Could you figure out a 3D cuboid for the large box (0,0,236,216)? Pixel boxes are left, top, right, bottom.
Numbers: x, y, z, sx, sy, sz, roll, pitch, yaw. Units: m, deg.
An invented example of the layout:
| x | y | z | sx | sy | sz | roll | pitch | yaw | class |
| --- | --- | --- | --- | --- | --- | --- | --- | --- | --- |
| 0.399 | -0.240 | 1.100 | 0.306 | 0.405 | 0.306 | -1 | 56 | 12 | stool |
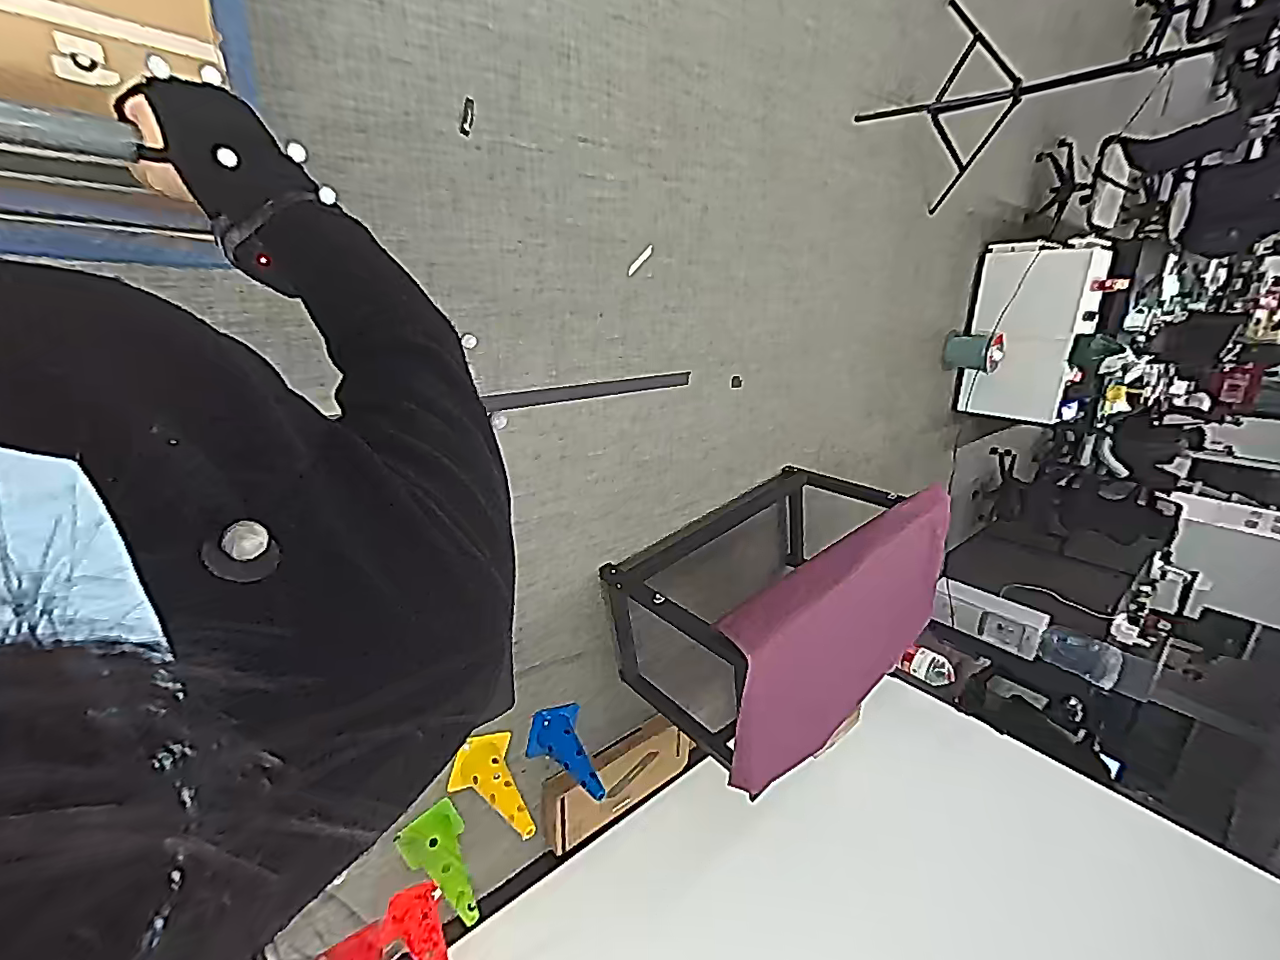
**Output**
| x | y | z | sx | sy | sz | roll | pitch | yaw | class |
| --- | --- | --- | --- | --- | --- | --- | --- | --- | --- |
| -0.816 | -0.557 | 0.706 | 0.408 | 0.320 | 0.320 | -12 | 111 | -39 | large box |
